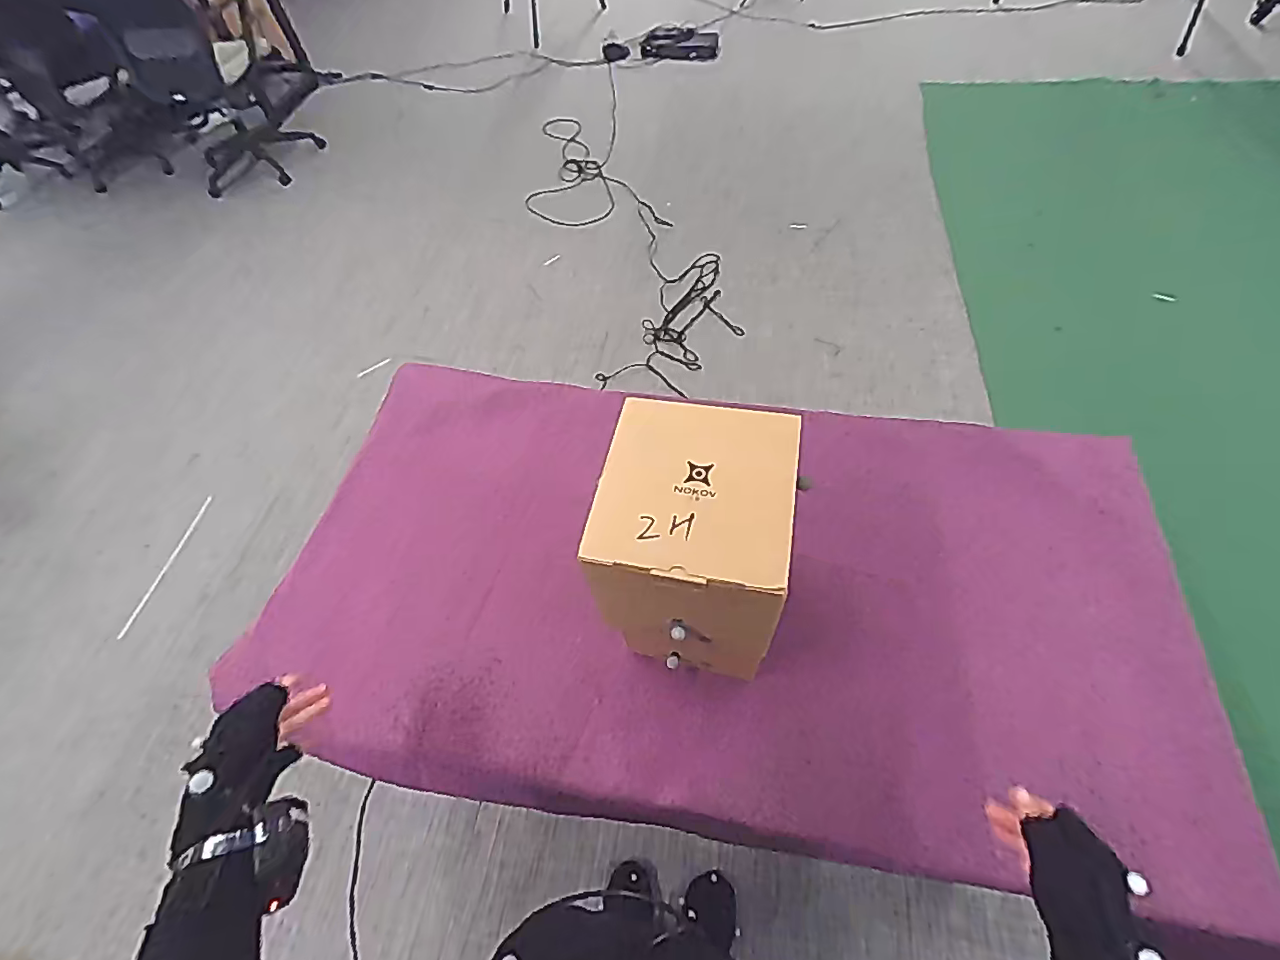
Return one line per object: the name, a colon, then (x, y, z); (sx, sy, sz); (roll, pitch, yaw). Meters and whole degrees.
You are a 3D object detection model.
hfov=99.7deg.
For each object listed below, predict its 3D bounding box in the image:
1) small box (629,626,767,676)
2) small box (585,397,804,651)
small box: (0.080, 0.124, 0.677); (0.168, 0.176, 0.179); (10, 59, 12)
small box: (0.058, 0.046, 0.532); (0.168, 0.176, 0.179); (8, 58, 12)
